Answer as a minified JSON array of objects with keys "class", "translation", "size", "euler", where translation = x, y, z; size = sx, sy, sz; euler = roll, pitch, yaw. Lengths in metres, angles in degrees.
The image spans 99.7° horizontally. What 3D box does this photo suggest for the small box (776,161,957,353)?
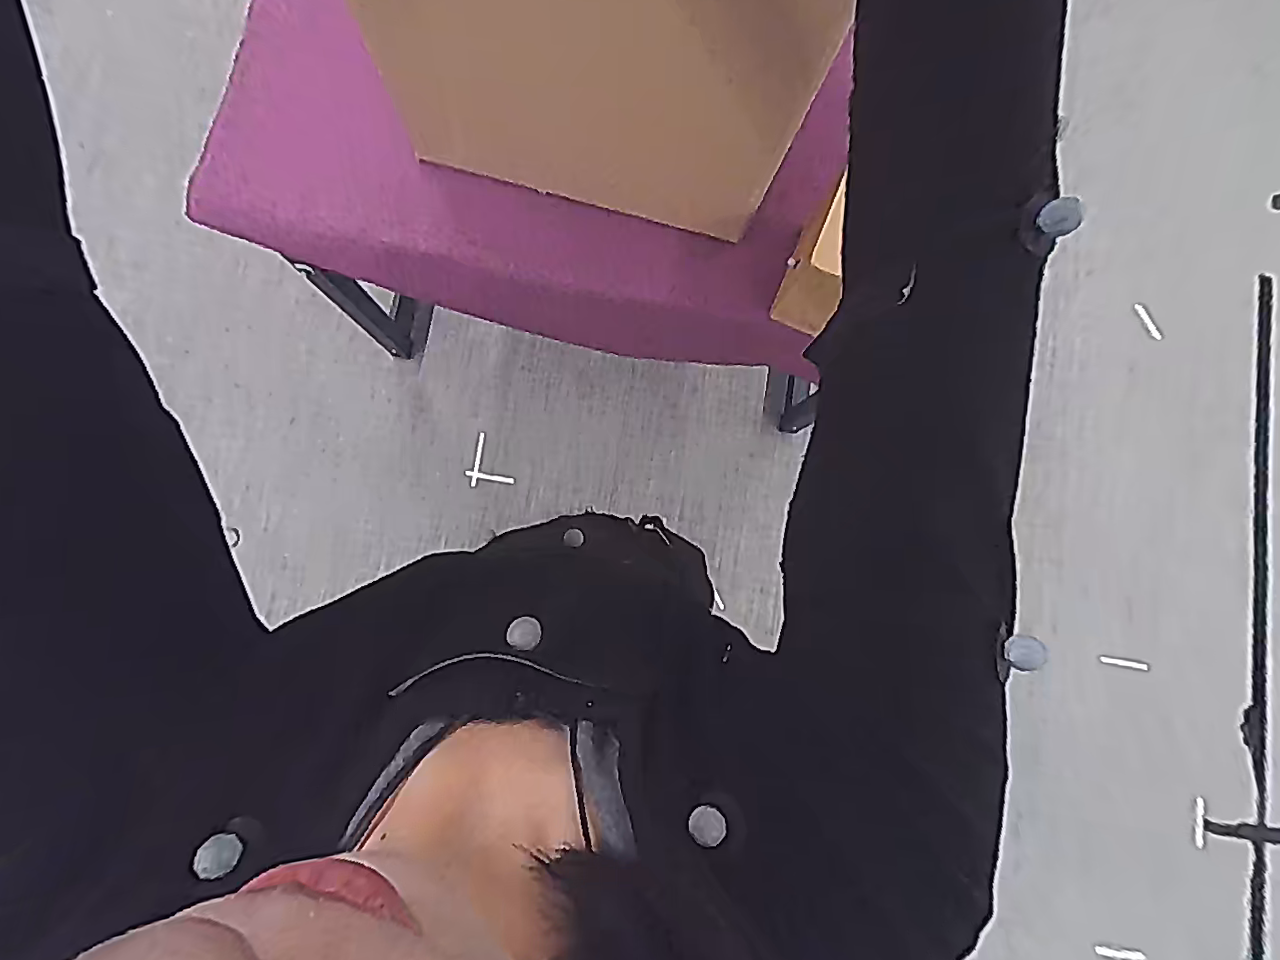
[{"class":"small box","translation":[0.321,-0.314,0.801],"size":[0.168,0.176,0.179],"euler":[22,80,-3]}]
